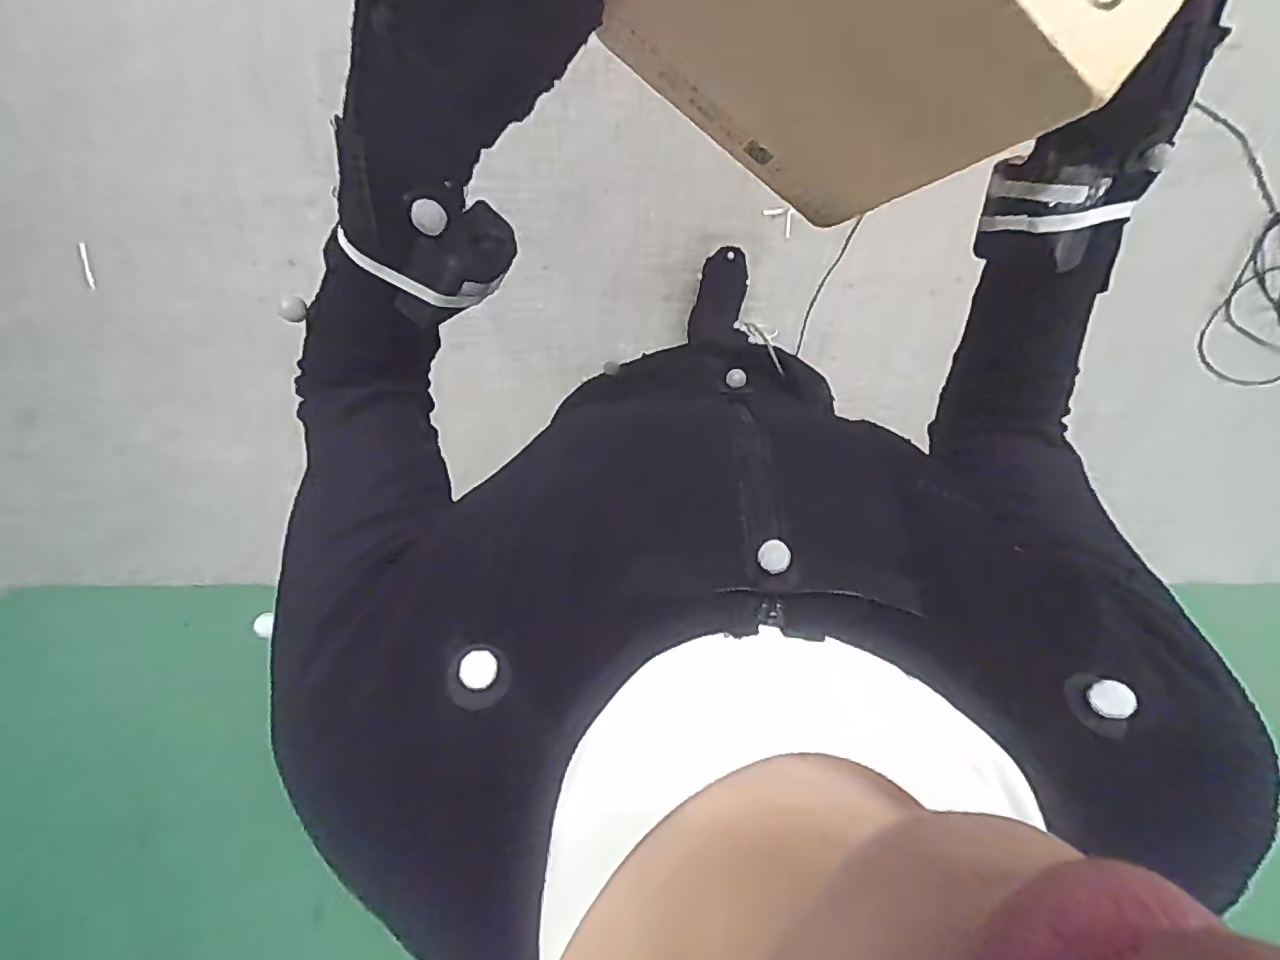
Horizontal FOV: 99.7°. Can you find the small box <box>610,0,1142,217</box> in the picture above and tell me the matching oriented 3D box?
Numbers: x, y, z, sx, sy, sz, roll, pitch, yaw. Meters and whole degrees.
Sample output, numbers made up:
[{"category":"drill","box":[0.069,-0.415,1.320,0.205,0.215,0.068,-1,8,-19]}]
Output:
[{"category":"small box","box":[0.102,-0.248,0.221,0.168,0.176,0.179,33,95,-15]}]
